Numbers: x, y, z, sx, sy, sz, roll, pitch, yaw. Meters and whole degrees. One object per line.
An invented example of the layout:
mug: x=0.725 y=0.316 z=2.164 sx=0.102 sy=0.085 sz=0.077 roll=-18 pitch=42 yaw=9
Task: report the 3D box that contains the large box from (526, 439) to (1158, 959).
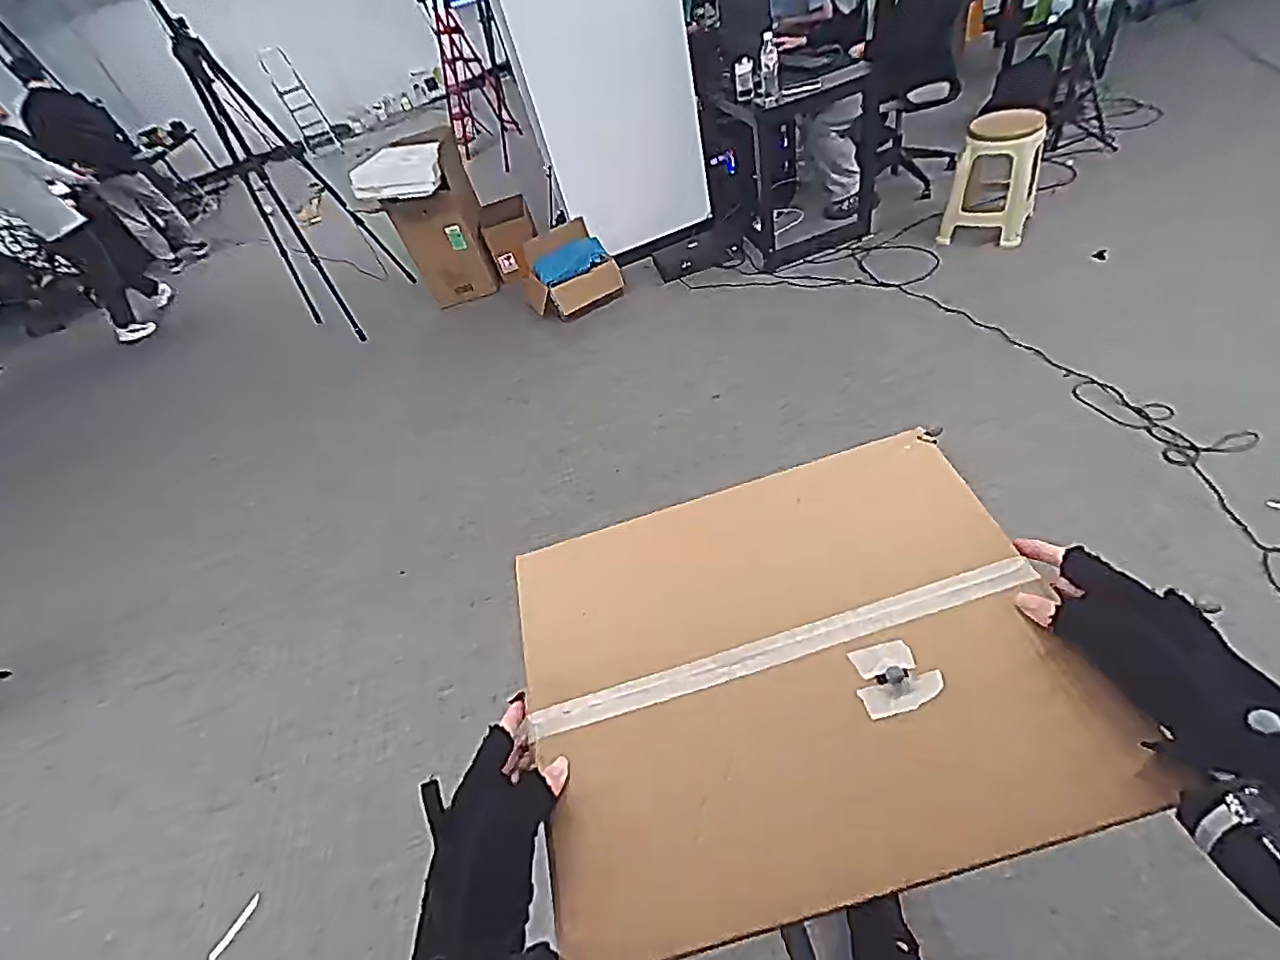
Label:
large box: x=0.140 y=0.223 z=0.555 sx=0.408 sy=0.320 sz=0.320 roll=-18 pitch=53 yaw=1
